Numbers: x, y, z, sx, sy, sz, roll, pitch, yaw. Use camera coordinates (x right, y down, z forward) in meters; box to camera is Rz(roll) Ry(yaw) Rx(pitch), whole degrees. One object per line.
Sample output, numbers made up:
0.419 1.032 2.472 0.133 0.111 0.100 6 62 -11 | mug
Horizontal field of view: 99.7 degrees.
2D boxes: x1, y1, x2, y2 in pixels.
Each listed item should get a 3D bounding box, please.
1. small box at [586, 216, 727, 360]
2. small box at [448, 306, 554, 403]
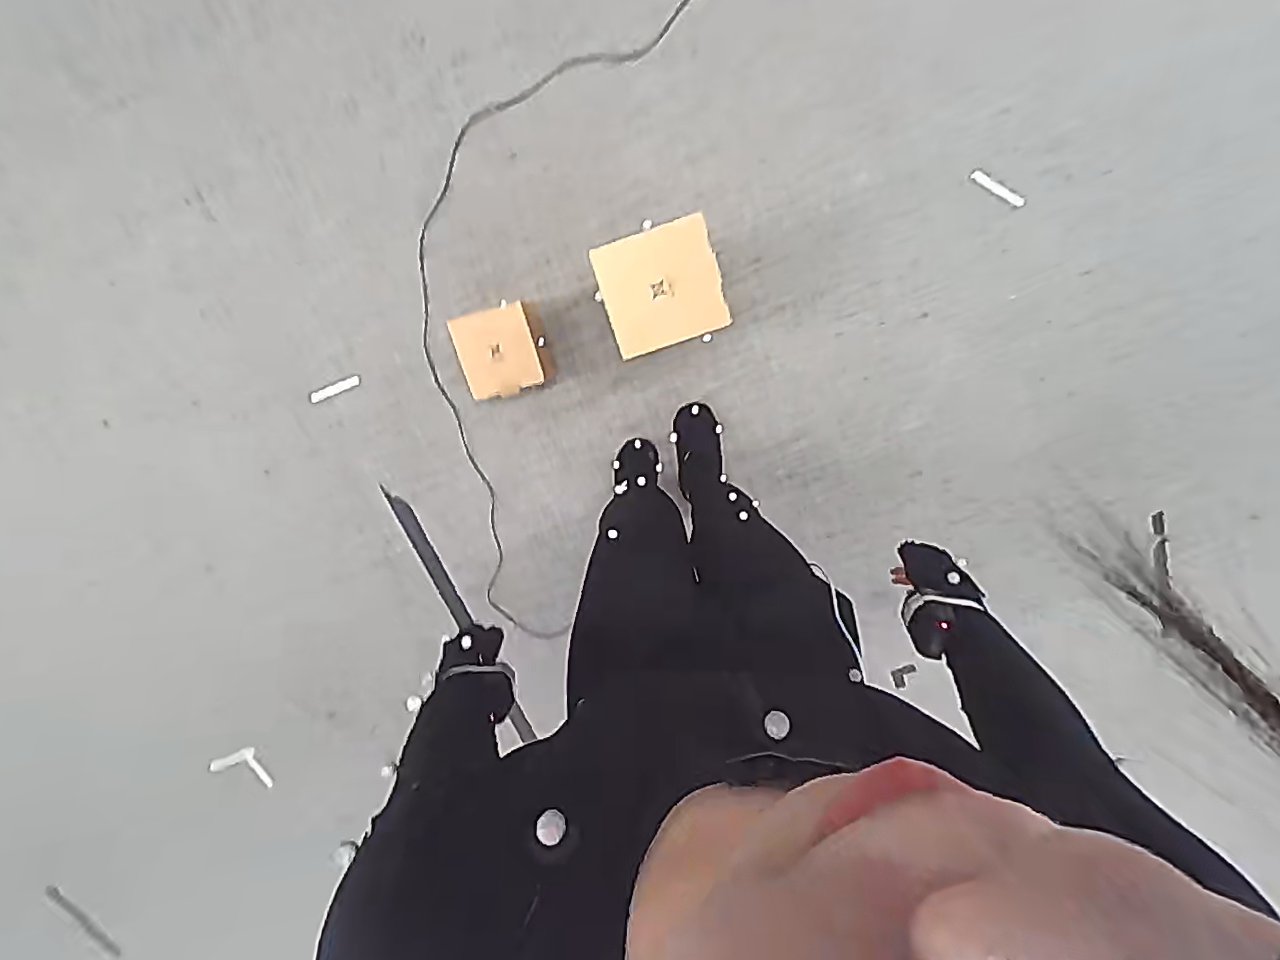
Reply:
0.028 -0.304 0.883 0.179 0.176 0.168 -18 106 5 | small box
-0.307 -0.292 1.234 0.168 0.176 0.179 -14 106 4 | small box
